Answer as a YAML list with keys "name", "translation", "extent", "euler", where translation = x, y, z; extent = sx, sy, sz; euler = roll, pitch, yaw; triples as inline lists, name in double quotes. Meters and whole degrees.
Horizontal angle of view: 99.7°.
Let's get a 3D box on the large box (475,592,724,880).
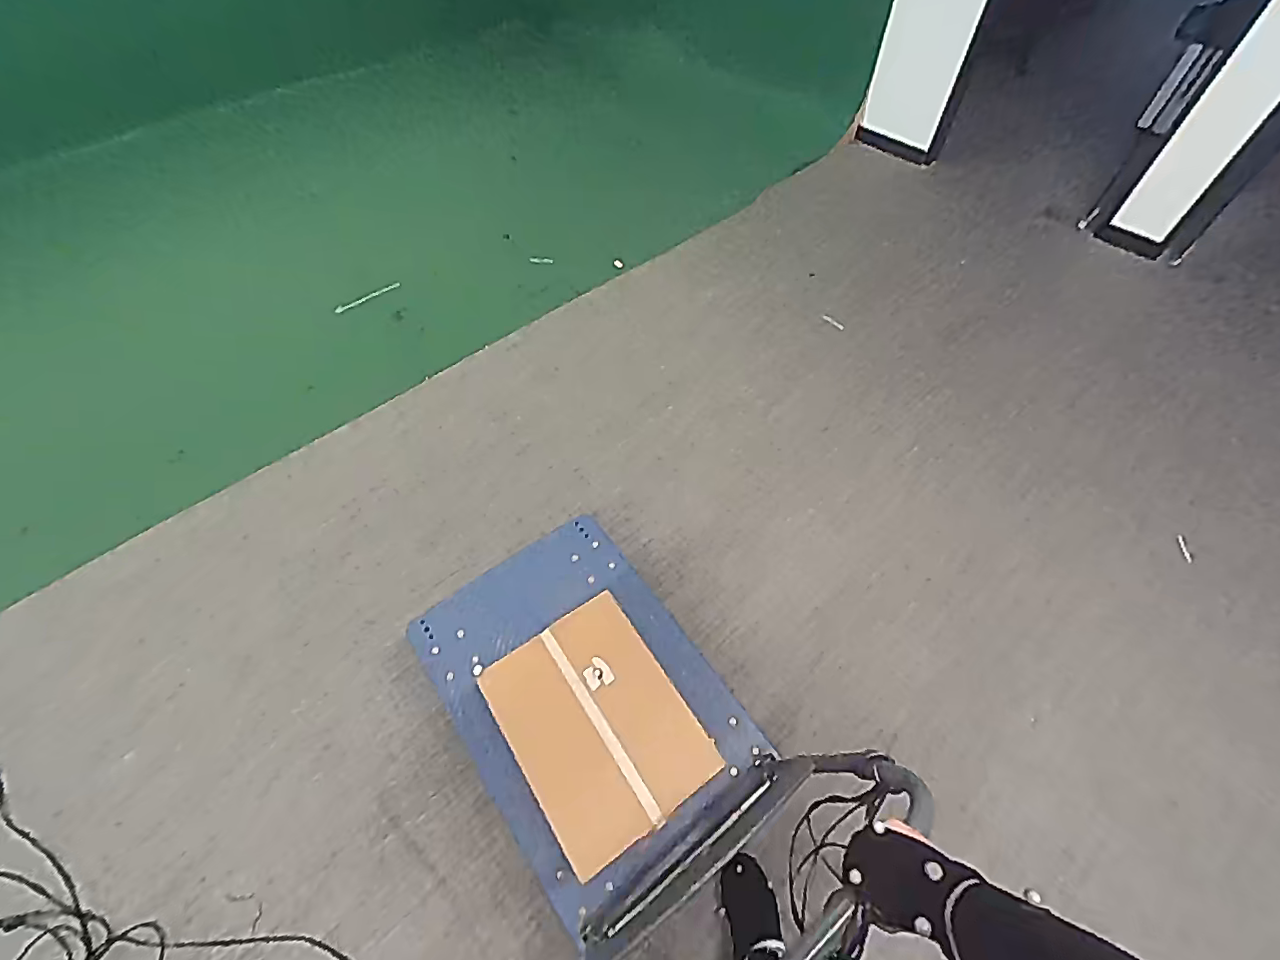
- name: "large box"
  translation: [-0.082, 0.520, 1.134]
  extent: [0.320, 0.320, 0.408]
  euler: [-30, 64, -18]
